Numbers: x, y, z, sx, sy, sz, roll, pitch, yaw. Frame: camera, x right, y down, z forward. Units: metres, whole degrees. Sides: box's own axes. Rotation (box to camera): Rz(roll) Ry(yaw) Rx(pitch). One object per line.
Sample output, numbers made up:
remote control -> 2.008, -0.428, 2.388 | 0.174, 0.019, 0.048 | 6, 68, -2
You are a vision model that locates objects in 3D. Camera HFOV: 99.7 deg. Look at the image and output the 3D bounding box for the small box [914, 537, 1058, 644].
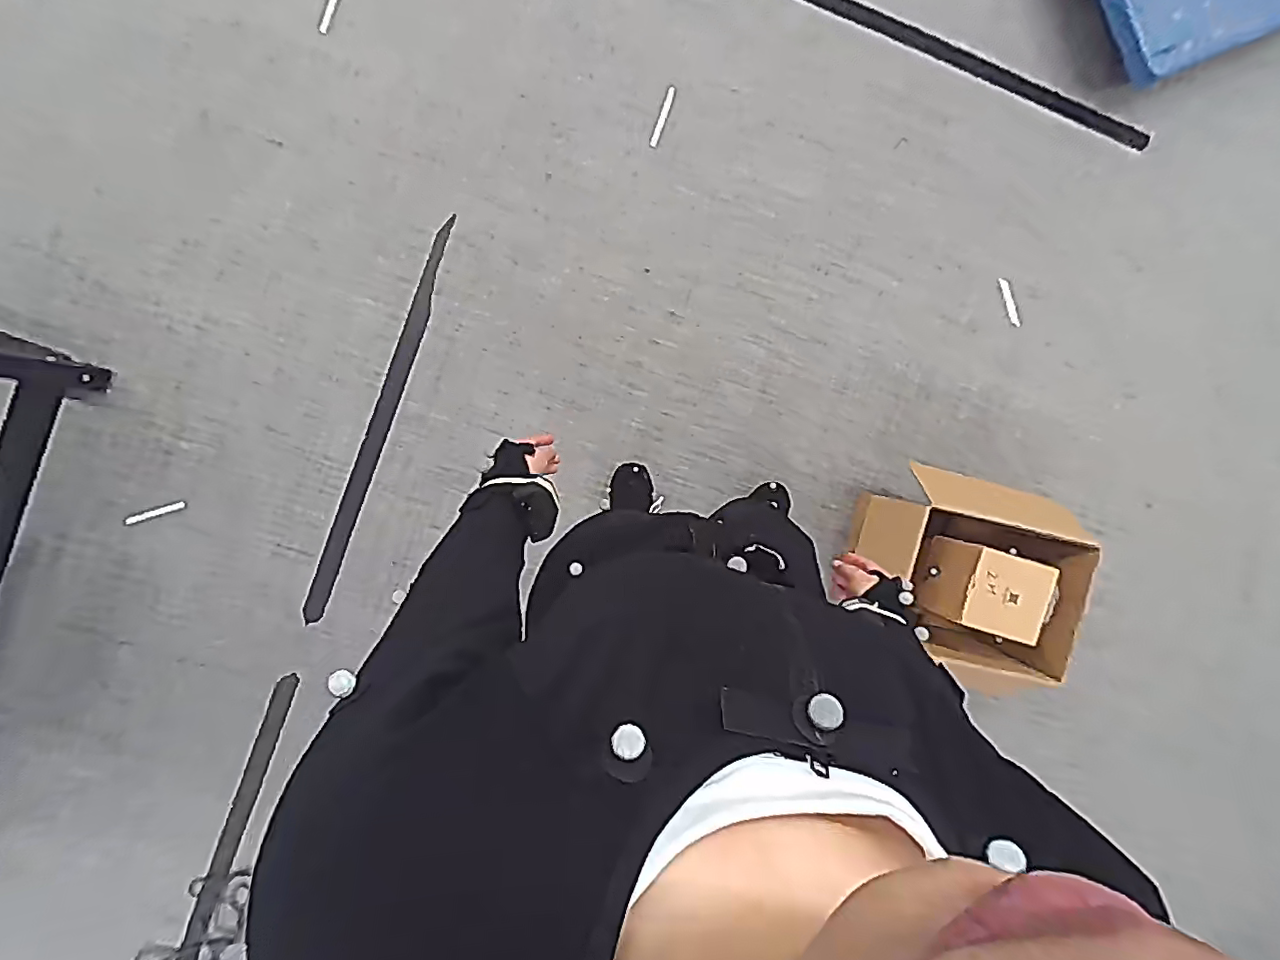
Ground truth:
small box -> 0.743, 0.230, 1.177 | 0.179, 0.176, 0.168 | 17, 91, -4
